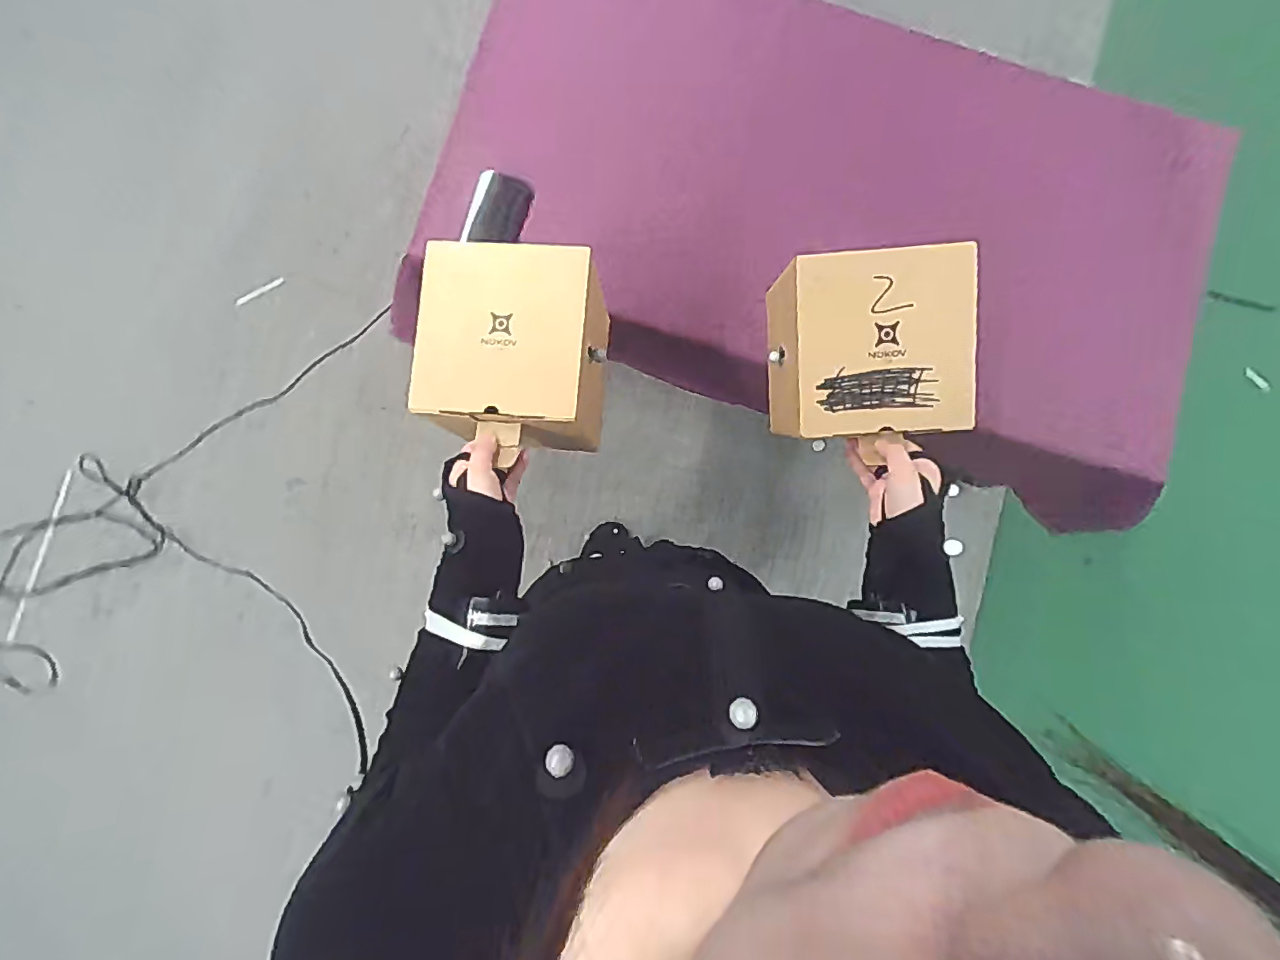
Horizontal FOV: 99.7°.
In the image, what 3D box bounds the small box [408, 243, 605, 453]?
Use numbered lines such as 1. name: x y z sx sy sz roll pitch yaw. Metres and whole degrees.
1. small box: -0.132 -0.133 0.599 0.168 0.176 0.179 4 84 3
